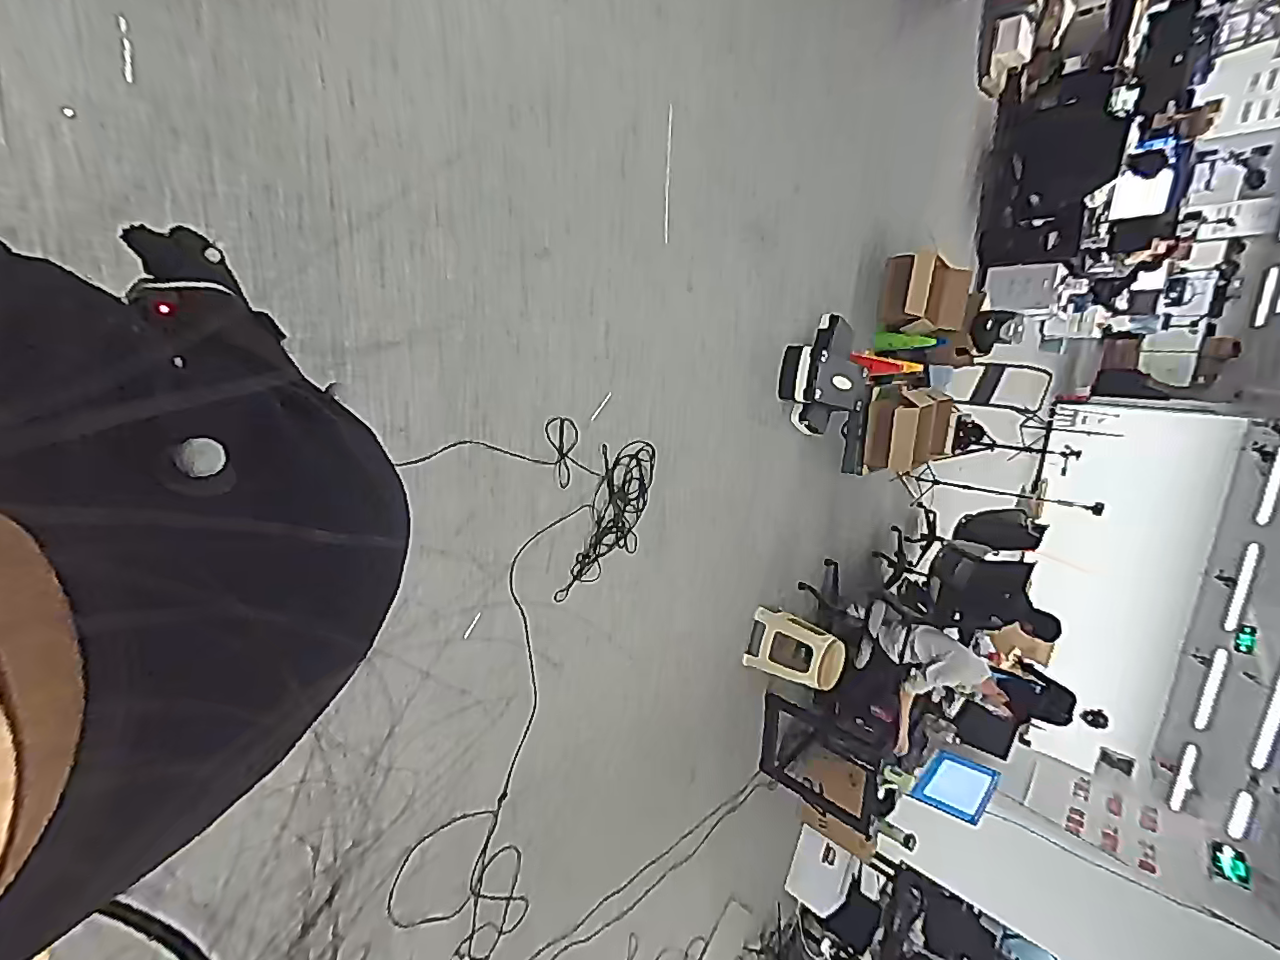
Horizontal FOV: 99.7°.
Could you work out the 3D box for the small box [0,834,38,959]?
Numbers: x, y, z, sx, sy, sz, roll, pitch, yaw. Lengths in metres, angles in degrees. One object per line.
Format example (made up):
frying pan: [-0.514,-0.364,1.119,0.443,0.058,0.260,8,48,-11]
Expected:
small box: [-1.257,0.819,1.006,0.168,0.176,0.179,-8,105,-45]
